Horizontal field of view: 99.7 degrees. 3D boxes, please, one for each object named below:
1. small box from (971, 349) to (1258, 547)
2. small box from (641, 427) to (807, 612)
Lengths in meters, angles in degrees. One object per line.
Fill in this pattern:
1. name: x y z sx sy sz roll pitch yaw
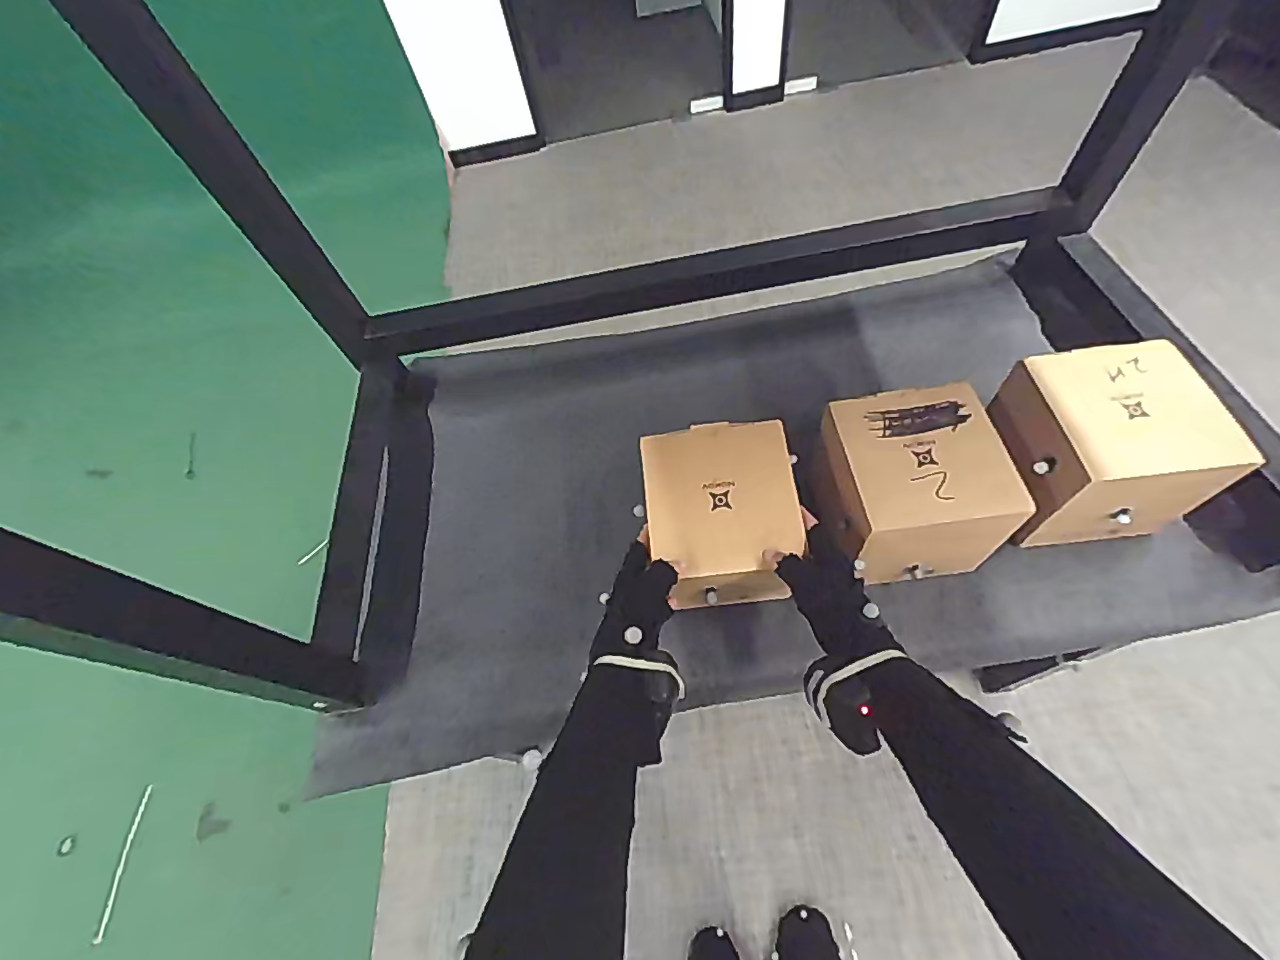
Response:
1. small box: 0.542 -0.028 0.655 0.168 0.176 0.179 -6 57 5
2. small box: 0.097 0.059 0.665 0.168 0.176 0.179 -7 64 4
